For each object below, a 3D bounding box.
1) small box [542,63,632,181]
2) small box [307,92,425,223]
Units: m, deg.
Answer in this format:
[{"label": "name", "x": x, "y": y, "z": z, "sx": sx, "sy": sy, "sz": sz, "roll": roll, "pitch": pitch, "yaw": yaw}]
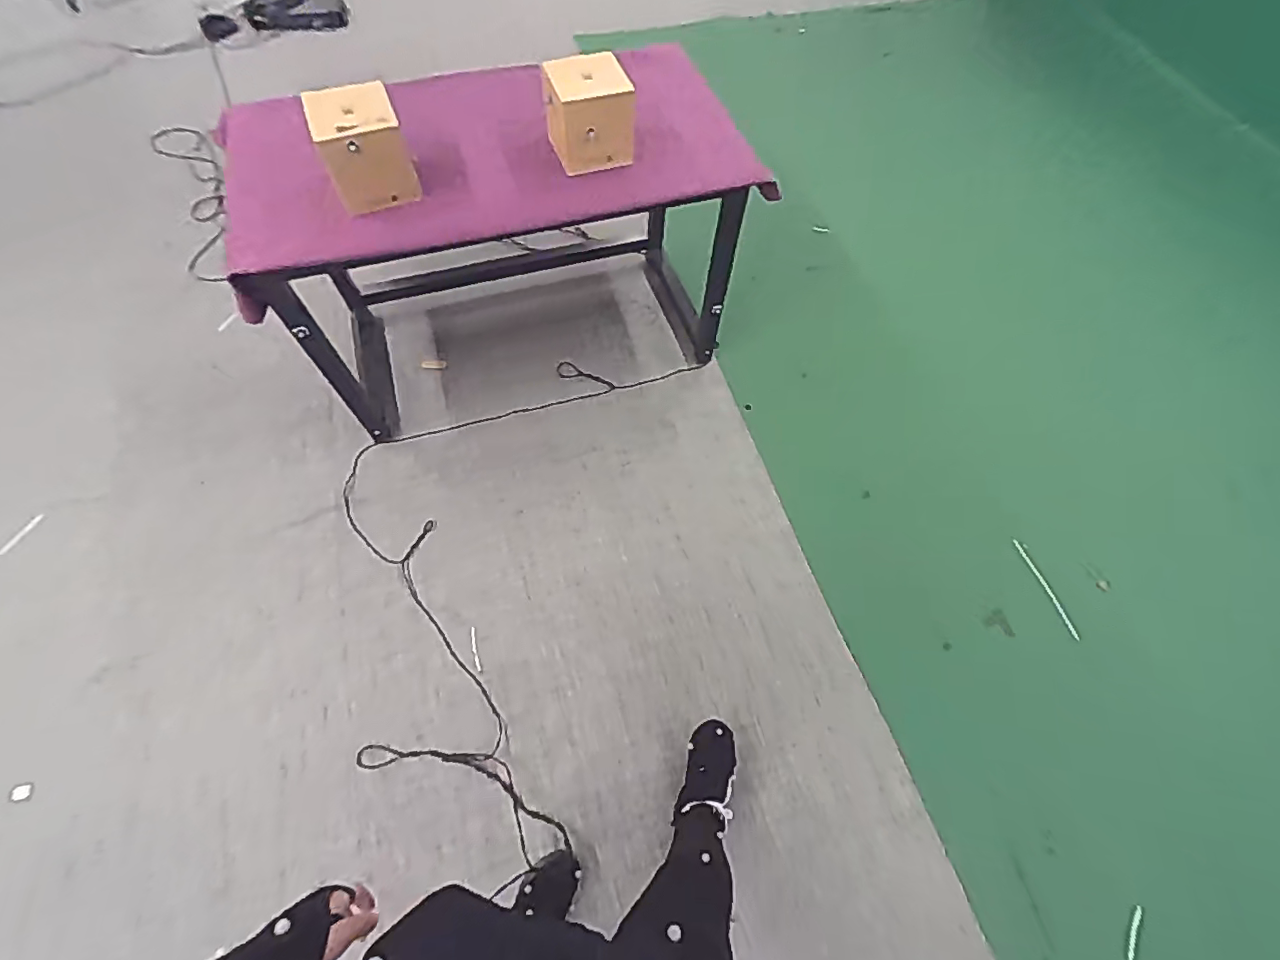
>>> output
[{"label": "small box", "x": -0.118, "y": -0.826, "z": 1.263, "sx": 0.168, "sy": 0.176, "sz": 0.179, "roll": -17, "pitch": 63, "yaw": -10}, {"label": "small box", "x": -0.592, "y": -0.700, "z": 1.179, "sx": 0.168, "sy": 0.176, "sz": 0.179, "roll": -20, "pitch": 65, "yaw": -12}]
